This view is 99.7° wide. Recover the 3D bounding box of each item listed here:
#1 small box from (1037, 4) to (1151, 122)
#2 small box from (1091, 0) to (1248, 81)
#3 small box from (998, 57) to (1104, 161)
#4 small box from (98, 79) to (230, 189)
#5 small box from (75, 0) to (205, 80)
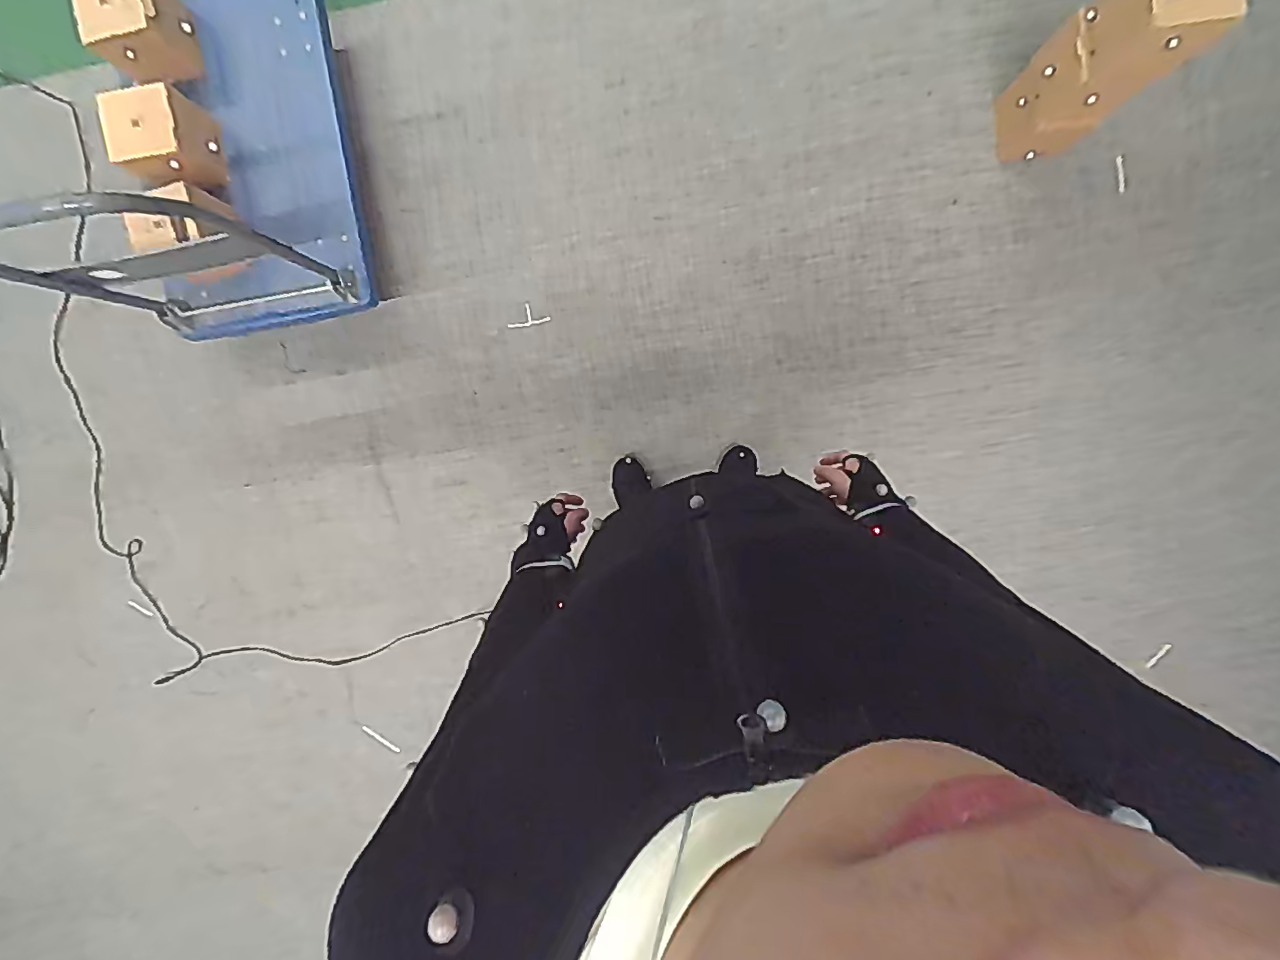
[{"bbox_3d":[1.081,-0.987,1.286,0.179,0.176,0.168,-4,93,4],"label":"small box"},{"bbox_3d":[1.082,-0.969,1.122,0.179,0.176,0.168,-6,93,3],"label":"small box"},{"bbox_3d":[1.093,-0.993,1.449,0.168,0.176,0.179,-4,94,3],"label":"small box"},{"bbox_3d":[-1.200,-0.868,1.375,0.179,0.176,0.168,-9,93,2],"label":"small box"},{"bbox_3d":[-1.247,-1.139,1.352,0.179,0.176,0.168,-3,97,1],"label":"small box"}]
